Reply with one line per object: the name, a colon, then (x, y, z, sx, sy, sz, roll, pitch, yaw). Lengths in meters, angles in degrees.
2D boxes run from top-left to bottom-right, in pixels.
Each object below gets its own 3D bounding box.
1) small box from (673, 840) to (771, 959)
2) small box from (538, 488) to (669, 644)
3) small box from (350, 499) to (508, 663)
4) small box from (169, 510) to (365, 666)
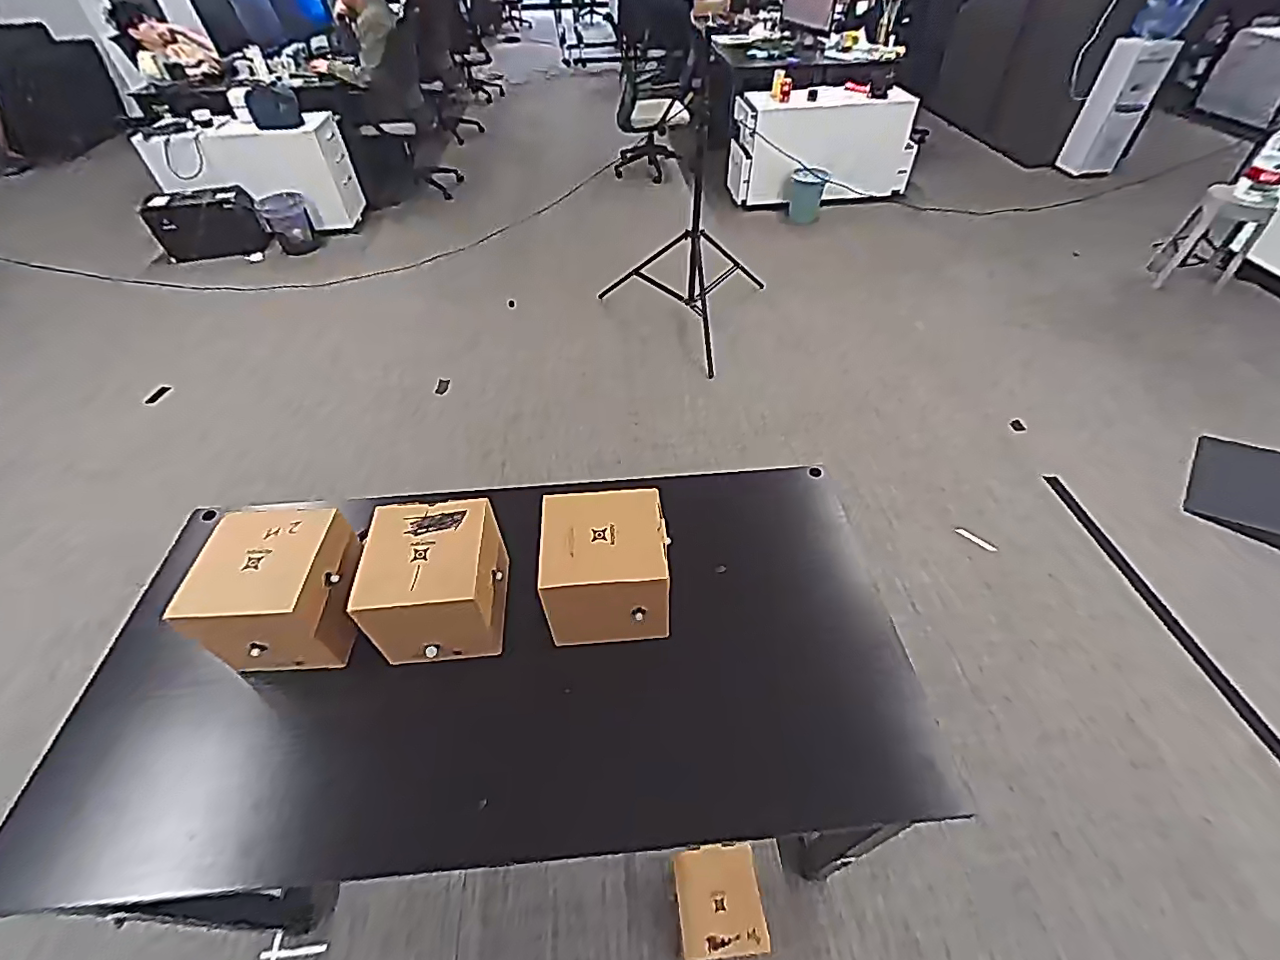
small box: (0.160, 0.874, 1.120, 0.168, 0.176, 0.179, -6, 47, -2)
small box: (-0.051, 0.133, 0.823, 0.179, 0.176, 0.168, -5, 46, -2)
small box: (-0.298, 0.152, 0.811, 0.168, 0.176, 0.179, -5, 48, -3)
small box: (-0.523, 0.166, 0.805, 0.168, 0.176, 0.179, -2, 47, -1)
